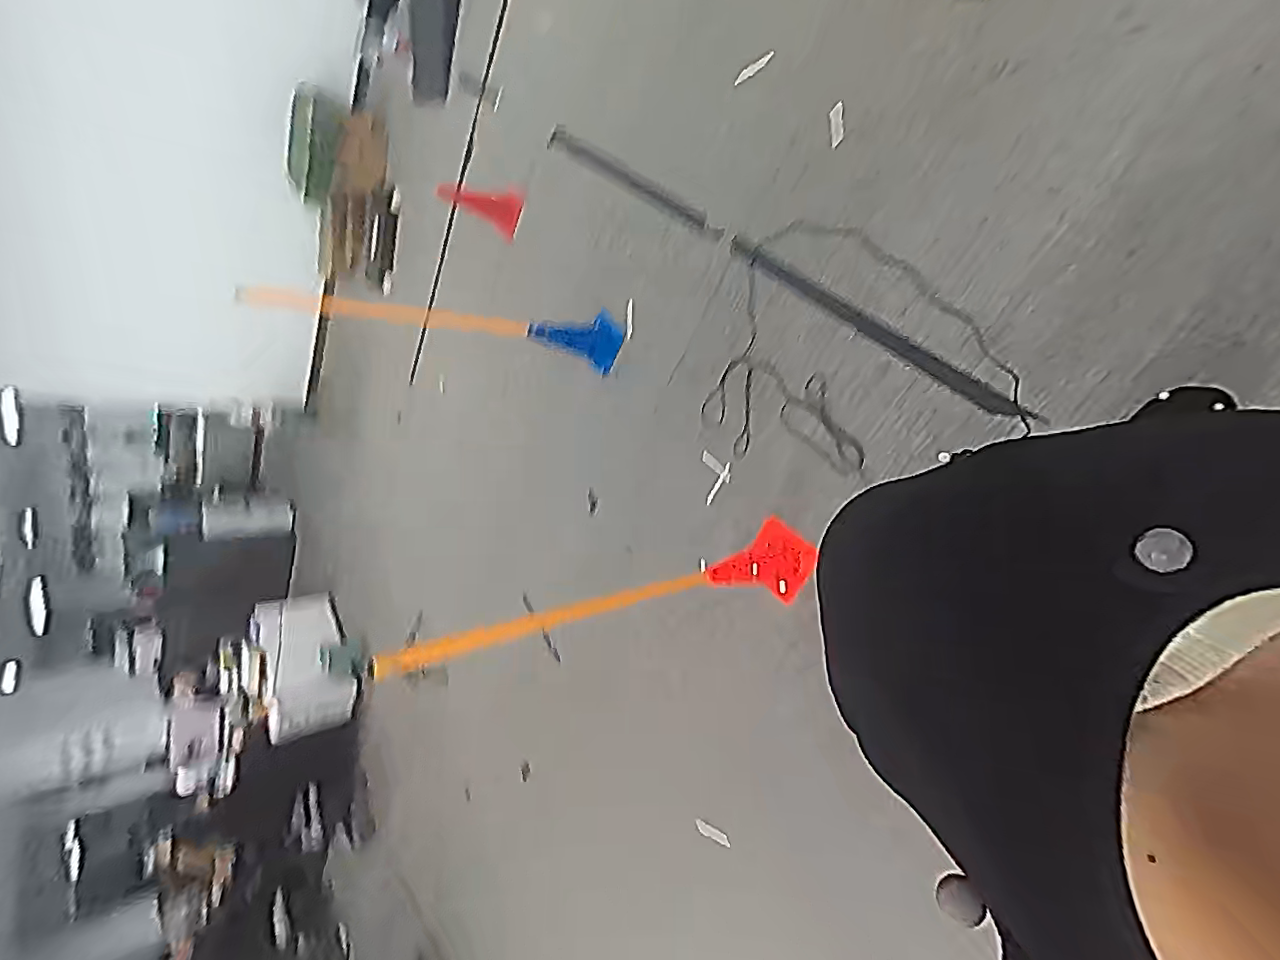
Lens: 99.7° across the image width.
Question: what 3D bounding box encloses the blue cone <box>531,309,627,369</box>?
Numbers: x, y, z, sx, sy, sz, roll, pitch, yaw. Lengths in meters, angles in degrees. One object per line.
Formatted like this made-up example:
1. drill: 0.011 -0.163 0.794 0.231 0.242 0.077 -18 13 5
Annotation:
1. blue cone: -0.252 -0.562 2.053 0.192 0.380 0.193 51 126 31

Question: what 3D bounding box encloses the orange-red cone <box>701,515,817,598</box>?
1. orange-red cone: 0.293 0.229 1.494 0.198 0.360 0.199 44 120 35
